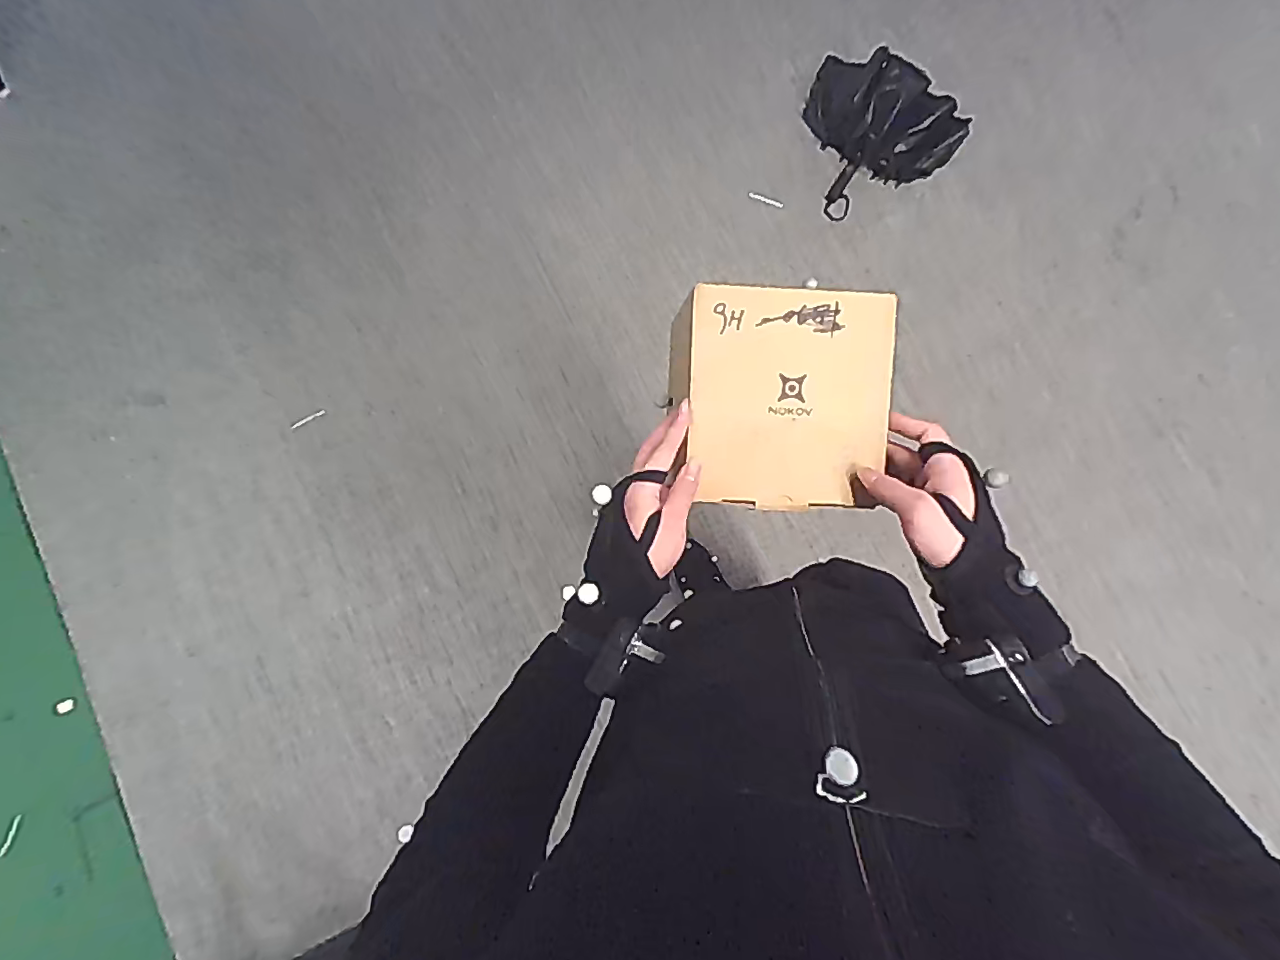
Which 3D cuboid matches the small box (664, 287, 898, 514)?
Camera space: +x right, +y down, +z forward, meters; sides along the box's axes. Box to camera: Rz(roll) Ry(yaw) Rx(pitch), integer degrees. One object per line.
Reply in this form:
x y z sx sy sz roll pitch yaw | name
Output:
0.115 -0.071 0.514 0.168 0.176 0.179 2 96 -4 | small box
